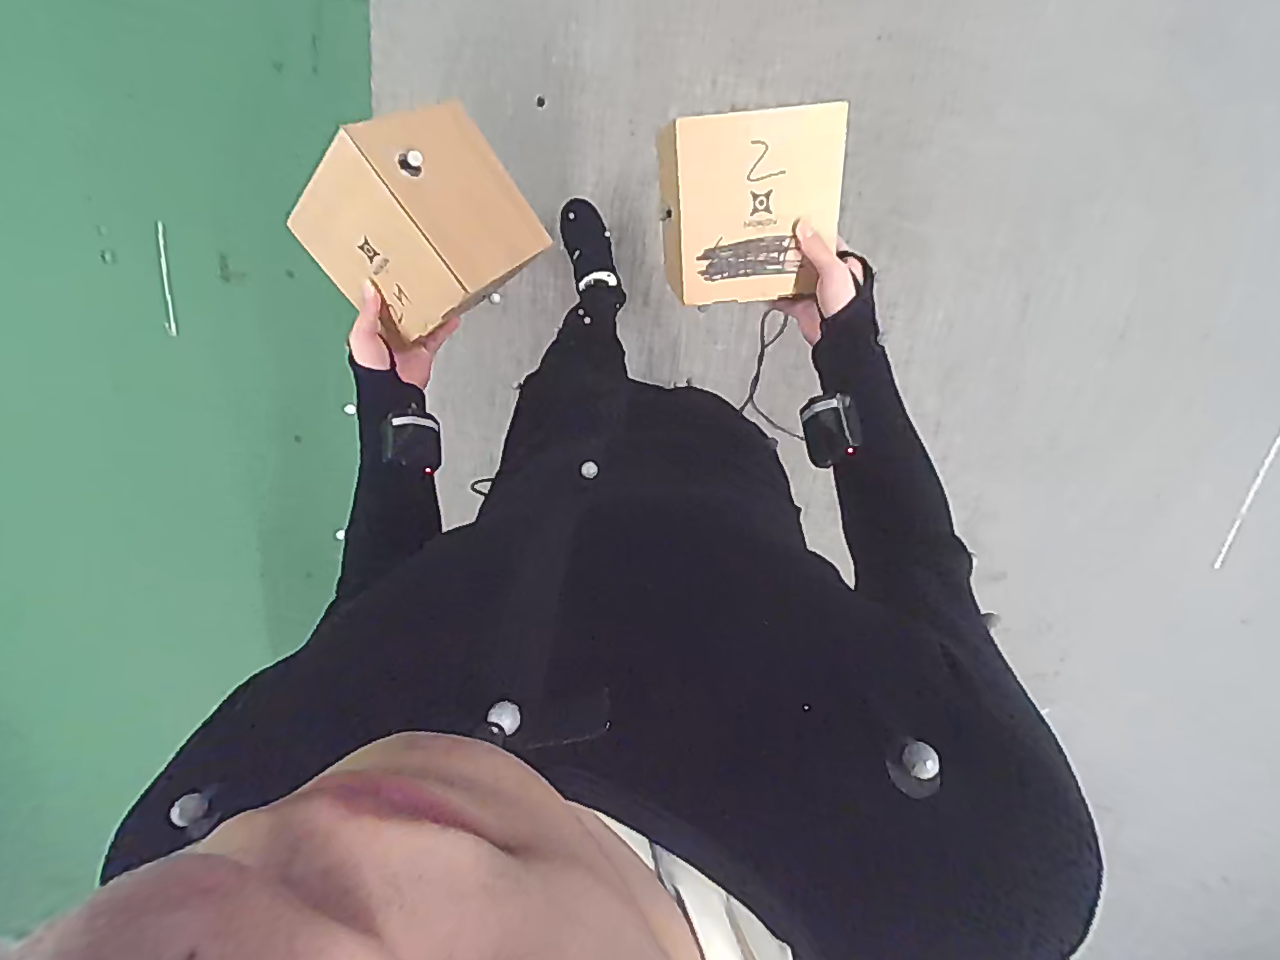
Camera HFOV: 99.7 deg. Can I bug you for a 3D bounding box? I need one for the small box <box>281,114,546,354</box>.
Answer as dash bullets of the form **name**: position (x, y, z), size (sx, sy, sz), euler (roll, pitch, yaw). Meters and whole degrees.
- **small box**: position (-0.244, -0.278, 0.610), size (0.168, 0.176, 0.179), euler (-16, 118, 39)
